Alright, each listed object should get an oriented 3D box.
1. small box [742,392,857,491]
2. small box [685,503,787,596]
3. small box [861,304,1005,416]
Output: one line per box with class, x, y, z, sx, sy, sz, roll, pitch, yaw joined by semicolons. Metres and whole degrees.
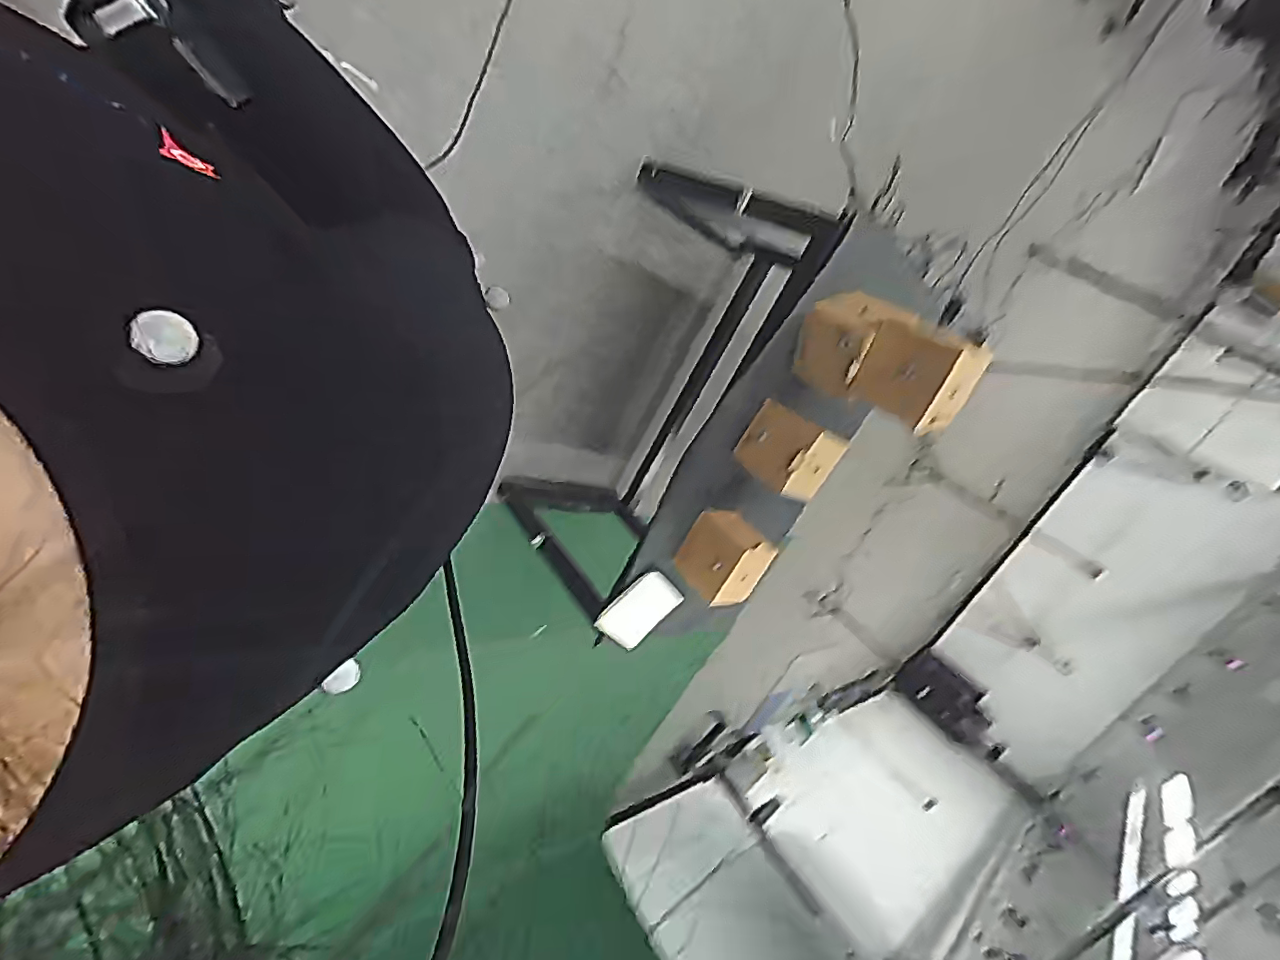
small box;0.383;-0.094;1.309;0.179;0.176;0.168;12;113;-47
small box;0.244;0.182;1.424;0.168;0.176;0.179;7;117;-46
small box;0.587;-0.246;1.099;0.168;0.176;0.179;-8;127;-38
